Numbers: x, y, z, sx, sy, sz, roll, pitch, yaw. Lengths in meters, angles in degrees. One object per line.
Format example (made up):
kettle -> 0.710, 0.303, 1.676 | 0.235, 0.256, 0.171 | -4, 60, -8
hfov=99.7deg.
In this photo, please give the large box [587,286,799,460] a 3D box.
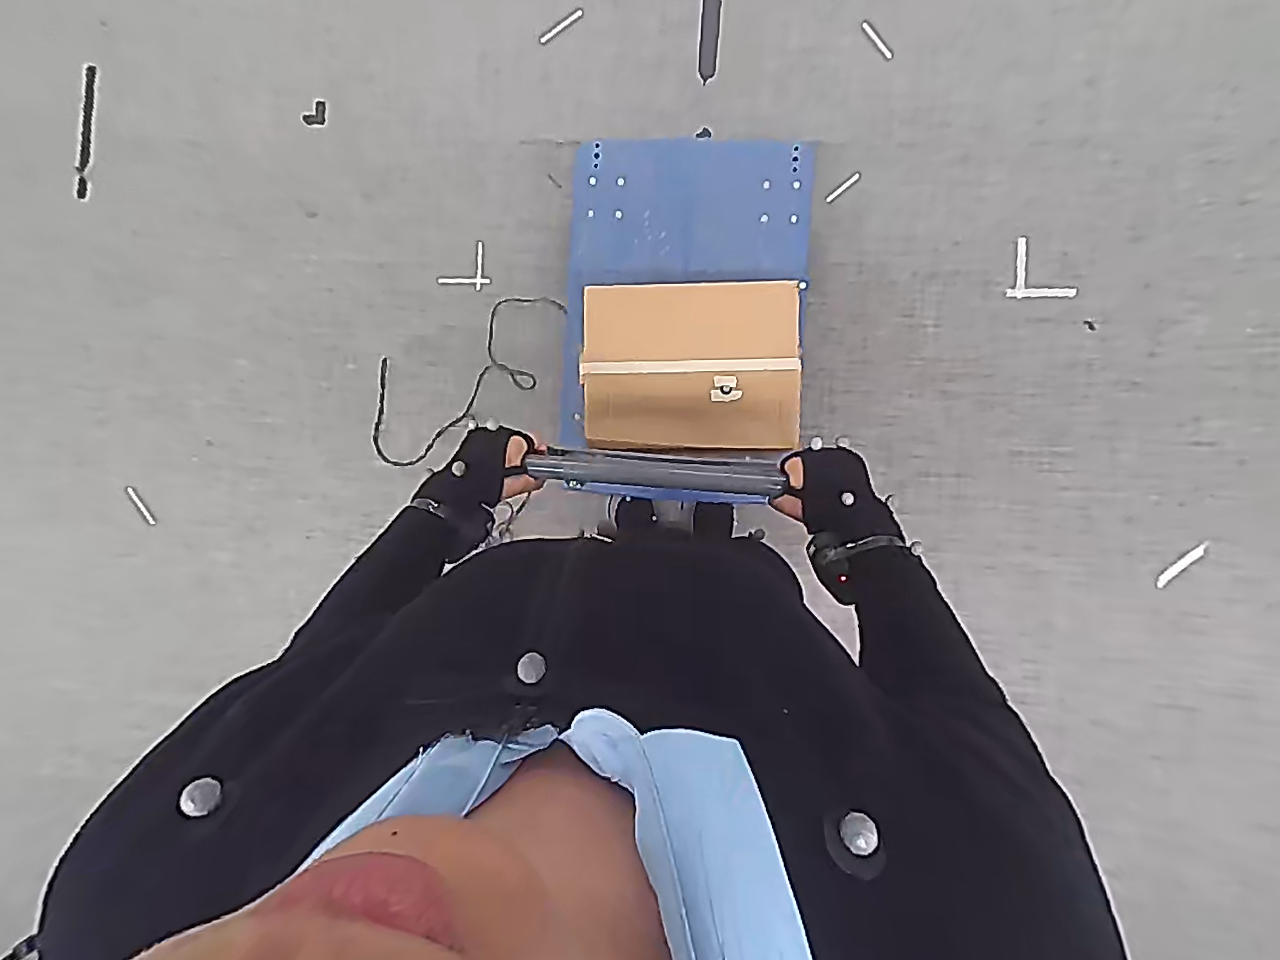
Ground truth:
large box -> 0.106, -0.208, 1.174 | 0.408, 0.320, 0.320 | 0, 91, 3
